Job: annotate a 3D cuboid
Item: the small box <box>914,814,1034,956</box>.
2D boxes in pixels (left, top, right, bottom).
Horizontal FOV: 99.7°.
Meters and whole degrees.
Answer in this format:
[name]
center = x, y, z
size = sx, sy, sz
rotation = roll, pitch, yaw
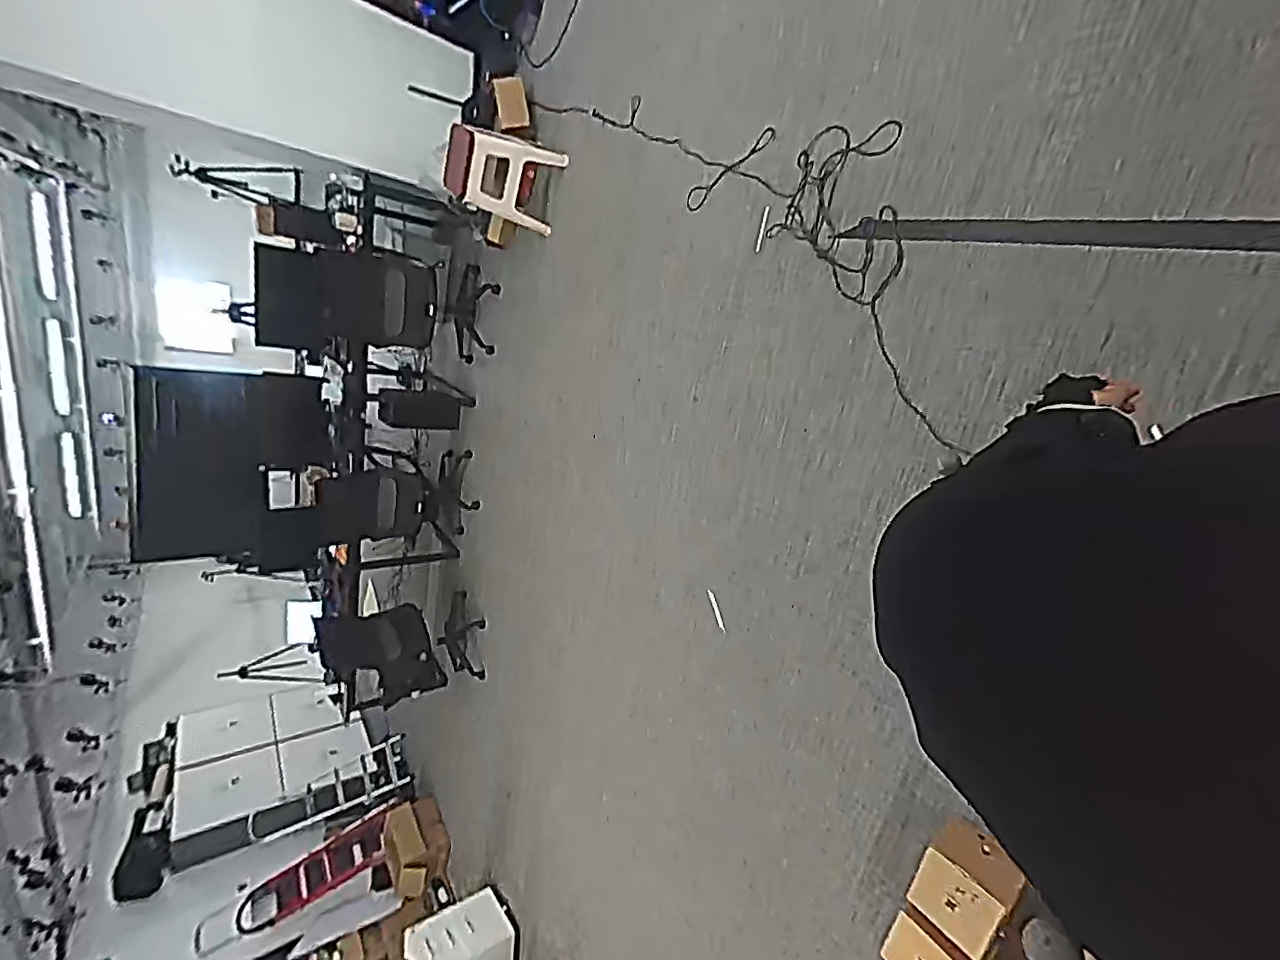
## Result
[small box]
center = 0.786, 0.940, 1.271
size = 0.168, 0.176, 0.179
rotation = 29, 114, 47
